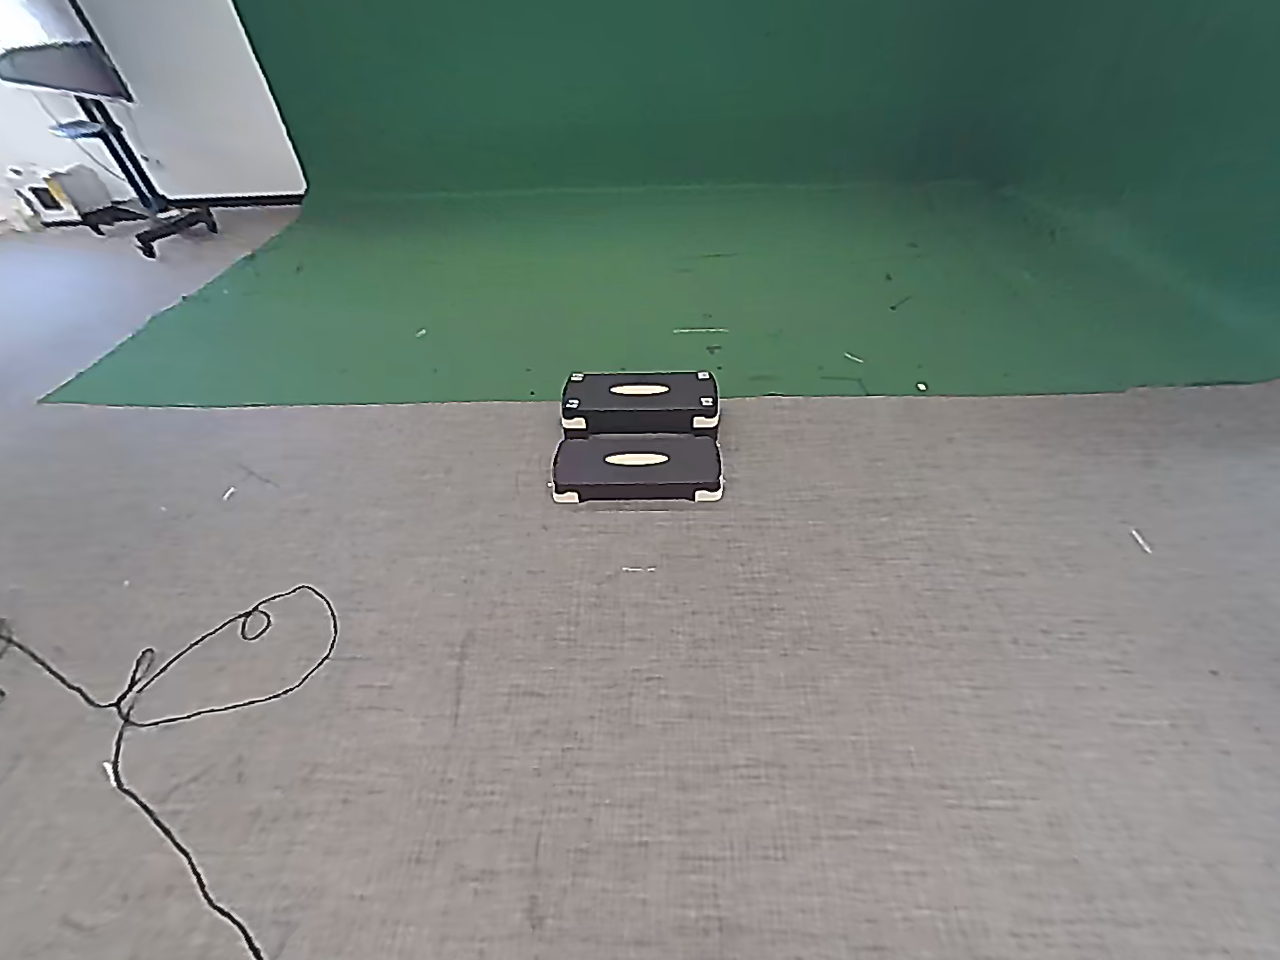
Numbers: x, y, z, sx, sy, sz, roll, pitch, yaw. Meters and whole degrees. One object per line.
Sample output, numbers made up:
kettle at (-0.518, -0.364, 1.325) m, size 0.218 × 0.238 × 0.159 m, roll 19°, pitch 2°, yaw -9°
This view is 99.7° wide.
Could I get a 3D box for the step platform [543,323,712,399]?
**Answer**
step platform at (-0.048, -0.495, 2.250) m, size 0.684 × 0.204 × 0.286 m, roll -1°, pitch 45°, yaw 2°
